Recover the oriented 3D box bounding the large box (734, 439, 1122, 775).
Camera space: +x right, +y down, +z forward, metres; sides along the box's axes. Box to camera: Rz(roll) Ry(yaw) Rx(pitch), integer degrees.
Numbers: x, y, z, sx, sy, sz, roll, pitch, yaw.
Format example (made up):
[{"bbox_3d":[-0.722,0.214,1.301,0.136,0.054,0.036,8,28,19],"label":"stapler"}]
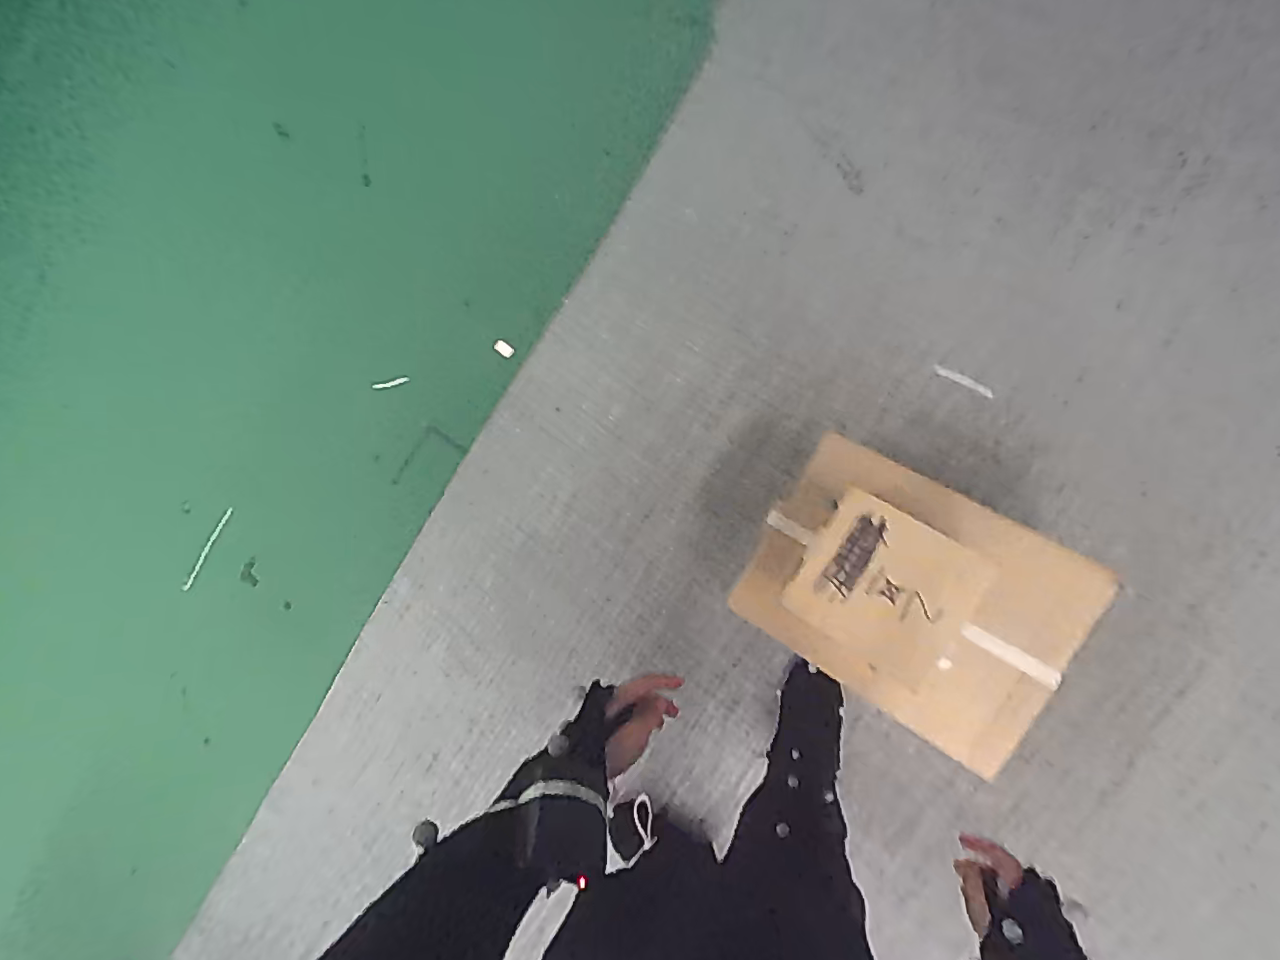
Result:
[{"bbox_3d":[0.421,0.177,0.894,0.408,0.320,0.320,31,95,20],"label":"large box"}]
